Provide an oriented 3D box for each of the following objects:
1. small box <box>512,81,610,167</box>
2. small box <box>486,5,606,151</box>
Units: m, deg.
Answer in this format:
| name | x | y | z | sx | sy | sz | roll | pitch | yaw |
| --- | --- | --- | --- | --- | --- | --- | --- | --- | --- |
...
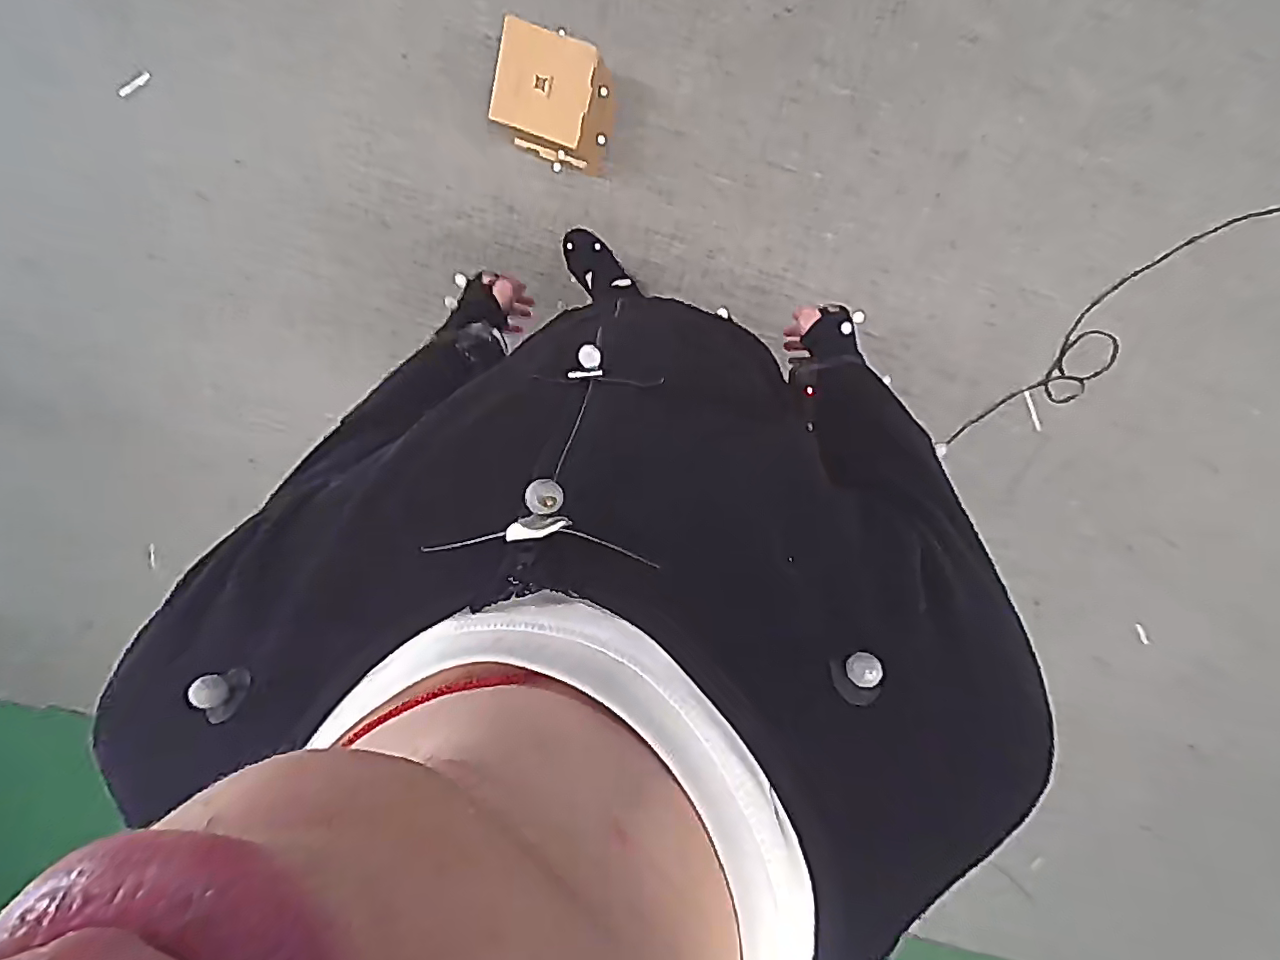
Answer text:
| name | x | y | z | sx | sy | sz | roll | pitch | yaw |
| --- | --- | --- | --- | --- | --- | --- | --- | --- | --- |
| small box | -0.171 | -0.826 | 1.211 | 0.168 | 0.176 | 0.179 | 16 | 113 | -2 |
| small box | -0.174 | -0.757 | 1.043 | 0.179 | 0.176 | 0.168 | 18 | 112 | -3 |
